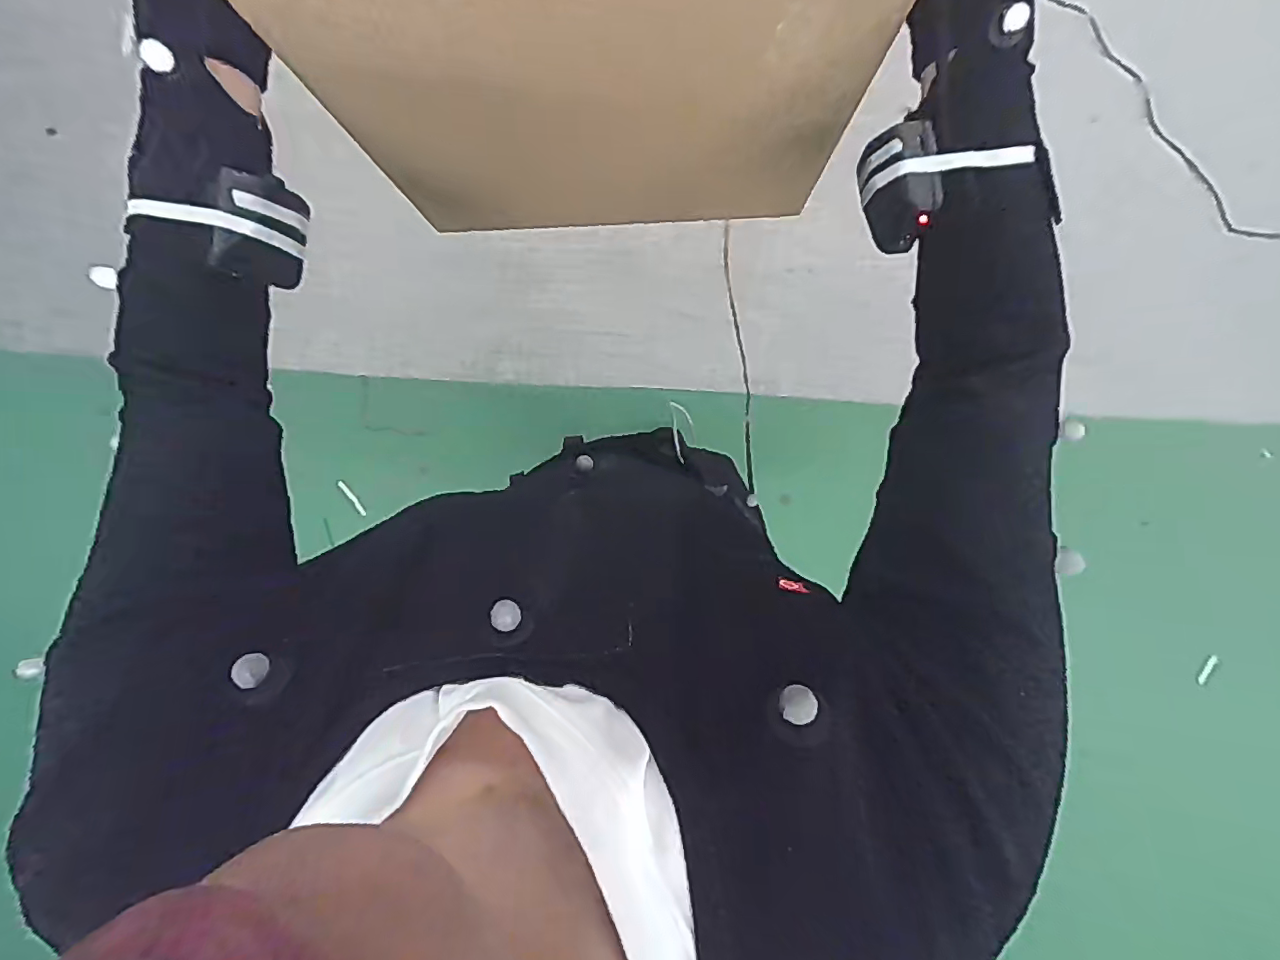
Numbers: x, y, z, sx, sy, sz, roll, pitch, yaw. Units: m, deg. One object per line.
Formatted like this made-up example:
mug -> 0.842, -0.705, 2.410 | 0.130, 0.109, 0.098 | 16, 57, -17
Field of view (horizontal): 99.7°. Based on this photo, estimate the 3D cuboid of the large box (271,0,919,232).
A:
large box -> -0.028, -0.435, 0.452 | 0.408, 0.320, 0.320 | -2, 90, 1
